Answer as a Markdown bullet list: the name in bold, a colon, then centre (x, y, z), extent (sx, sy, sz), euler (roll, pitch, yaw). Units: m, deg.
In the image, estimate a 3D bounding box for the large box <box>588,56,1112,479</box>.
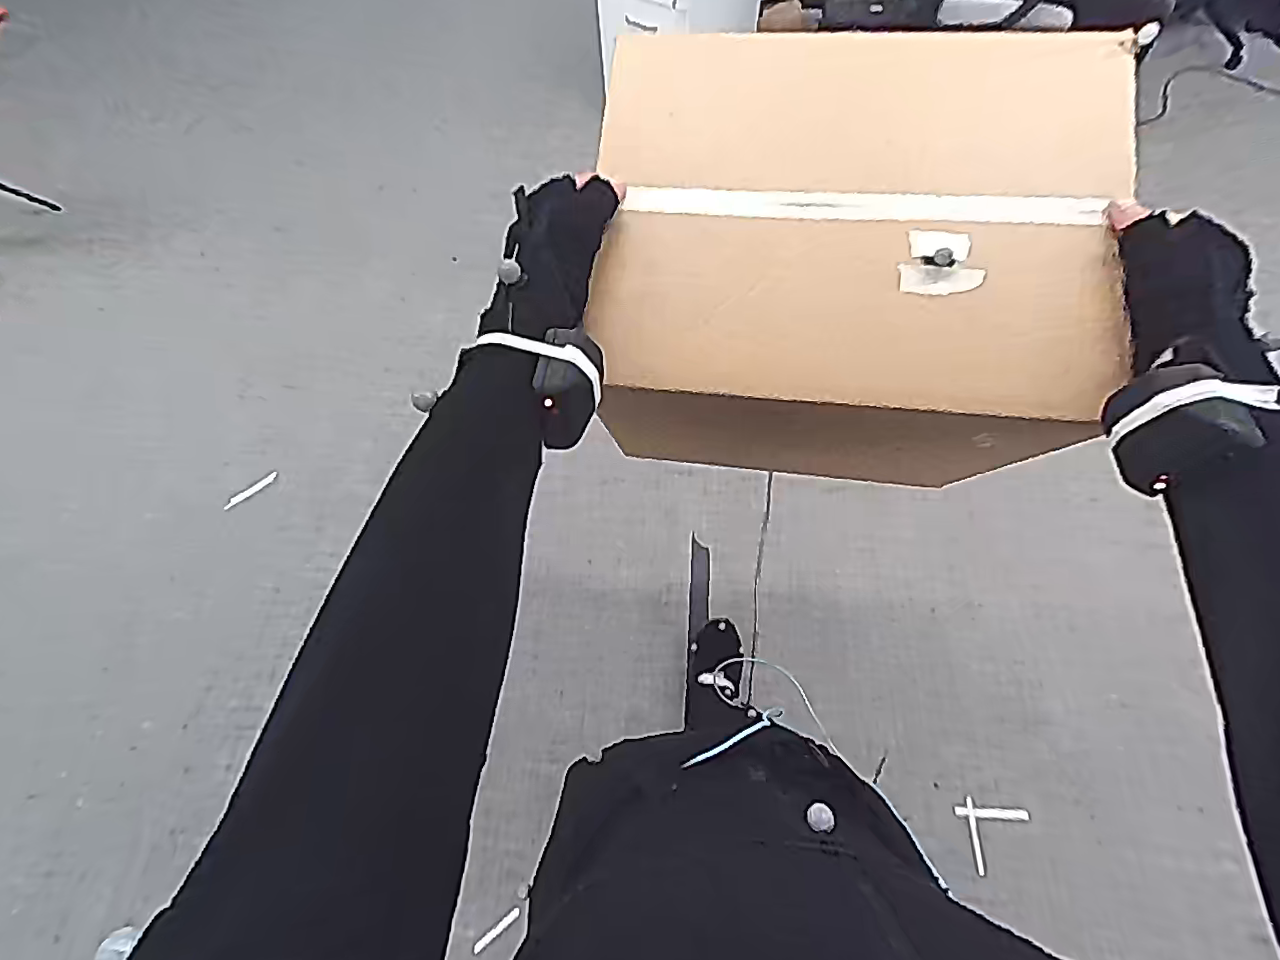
- **large box**: centre (0.180, -0.188, 0.587), extent (0.408, 0.320, 0.320), euler (6, 83, 7)
